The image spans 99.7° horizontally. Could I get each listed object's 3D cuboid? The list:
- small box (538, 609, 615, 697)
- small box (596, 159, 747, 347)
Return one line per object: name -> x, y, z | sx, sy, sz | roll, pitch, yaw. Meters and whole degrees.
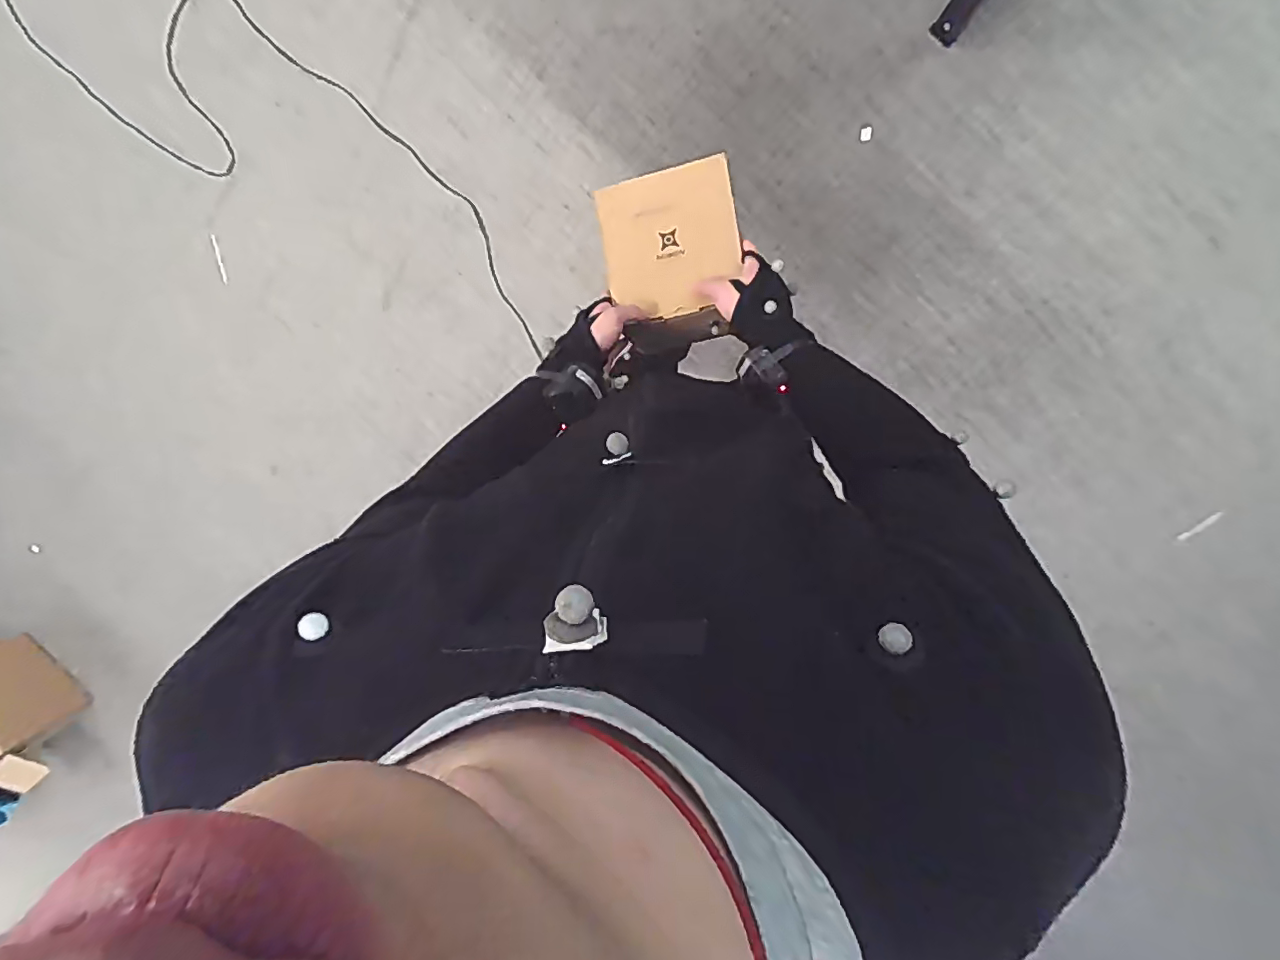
small box -> -0.197, 0.552, 1.752 | 0.168, 0.176, 0.179 | 39, 110, -3
small box -> 0.053, -0.291, 0.742 | 0.168, 0.176, 0.179 | -10, 89, 11
